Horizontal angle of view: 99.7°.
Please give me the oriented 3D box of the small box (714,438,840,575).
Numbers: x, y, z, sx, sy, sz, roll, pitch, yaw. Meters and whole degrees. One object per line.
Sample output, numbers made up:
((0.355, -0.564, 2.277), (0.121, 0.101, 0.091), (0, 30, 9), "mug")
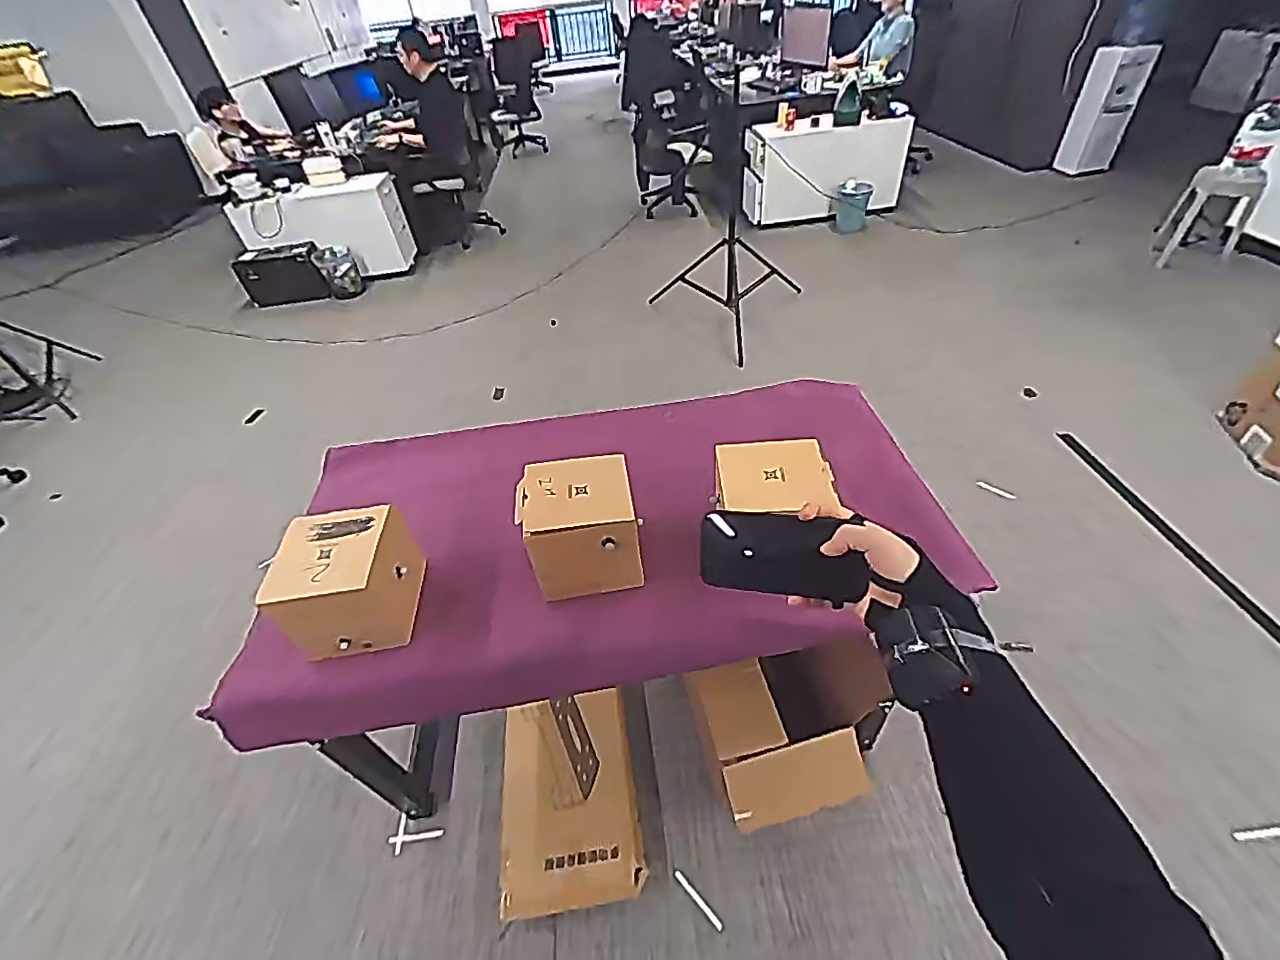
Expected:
((0.223, 0.049, 0.926), (0.179, 0.176, 0.168), (-4, 43, 3), "small box")

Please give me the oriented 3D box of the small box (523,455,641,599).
((-0.094, 0.083, 0.932), (0.179, 0.176, 0.168), (-9, 41, -2), "small box")
